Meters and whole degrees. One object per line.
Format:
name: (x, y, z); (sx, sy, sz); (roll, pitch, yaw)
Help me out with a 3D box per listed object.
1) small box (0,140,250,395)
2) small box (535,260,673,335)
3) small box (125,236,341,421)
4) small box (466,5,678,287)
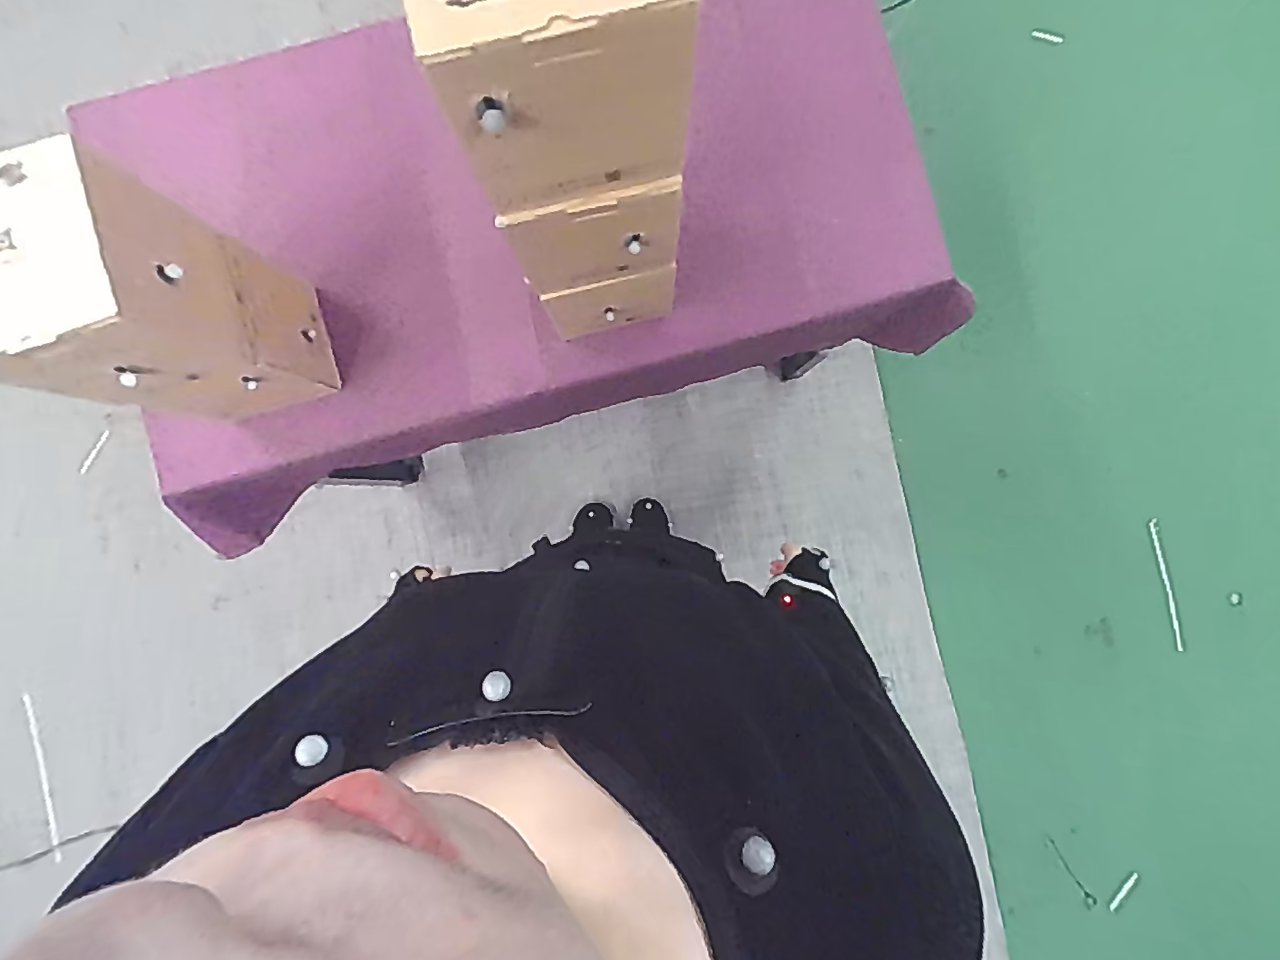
small box: (-0.551, -0.196, 0.558); (0.168, 0.176, 0.179); (-17, 88, -1)
small box: (-0.055, -0.306, 0.717); (0.168, 0.176, 0.179); (-13, 87, 0)
small box: (-0.544, -0.187, 0.722); (0.179, 0.176, 0.168); (-17, 87, -1)
small box: (-0.058, -0.316, 0.554); (0.168, 0.176, 0.179); (-11, 87, 0)
